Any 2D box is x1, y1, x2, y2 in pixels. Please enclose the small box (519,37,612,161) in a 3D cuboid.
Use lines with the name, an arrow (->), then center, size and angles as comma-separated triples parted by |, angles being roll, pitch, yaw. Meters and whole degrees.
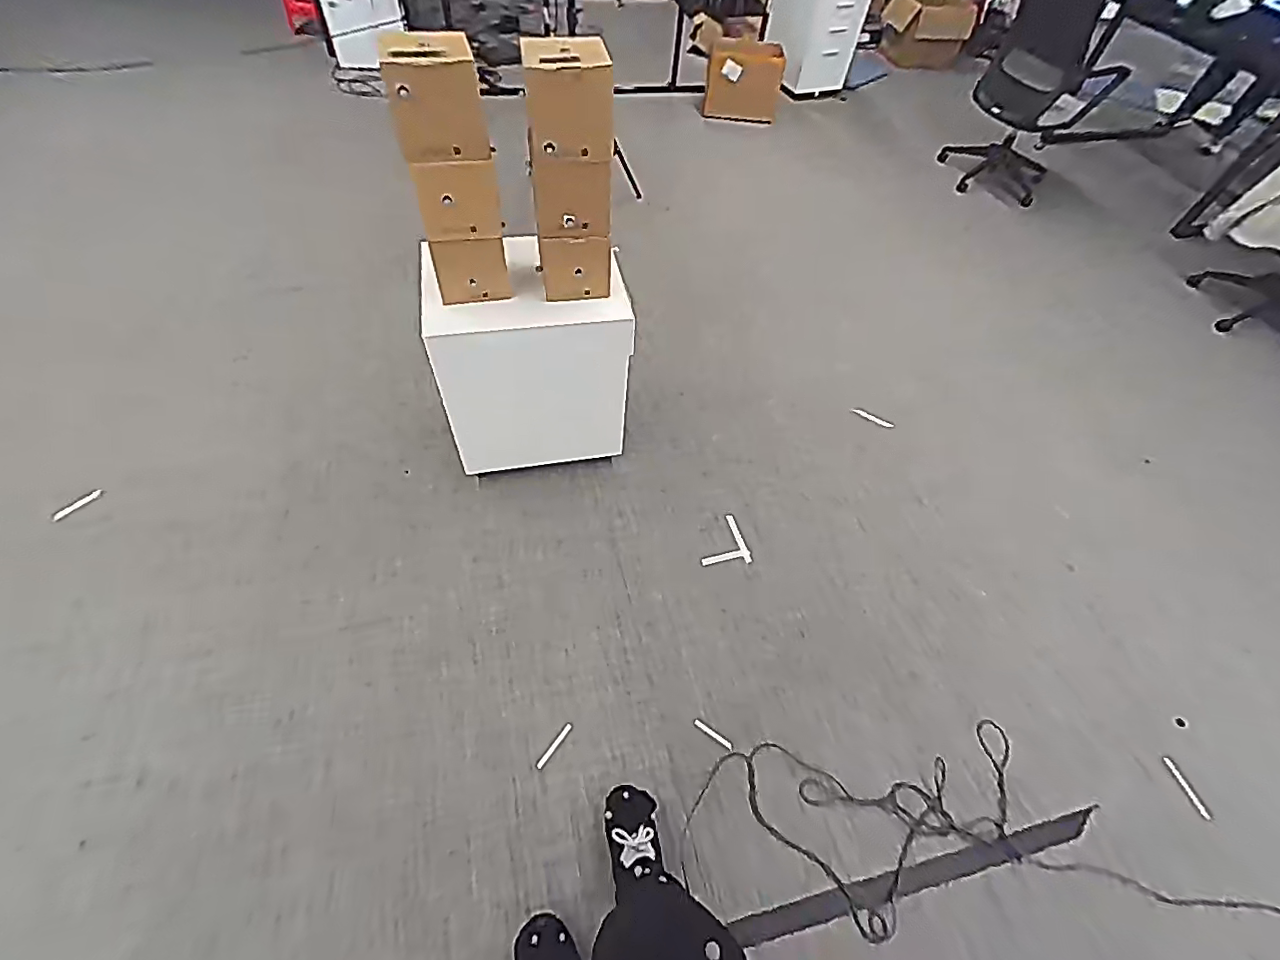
small box -> -0.150, -0.773, 1.106 | 0.168, 0.176, 0.179 | -7, 54, -8

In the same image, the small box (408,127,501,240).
small box -> -0.407, -0.651, 1.199 | 0.168, 0.176, 0.179 | -9, 55, -12

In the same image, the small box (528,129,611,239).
small box -> -0.162, -0.679, 1.240 | 0.168, 0.176, 0.179 | -8, 56, -9

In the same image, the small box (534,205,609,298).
small box -> -0.170, -0.577, 1.368 | 0.168, 0.176, 0.179 | -8, 57, -9
